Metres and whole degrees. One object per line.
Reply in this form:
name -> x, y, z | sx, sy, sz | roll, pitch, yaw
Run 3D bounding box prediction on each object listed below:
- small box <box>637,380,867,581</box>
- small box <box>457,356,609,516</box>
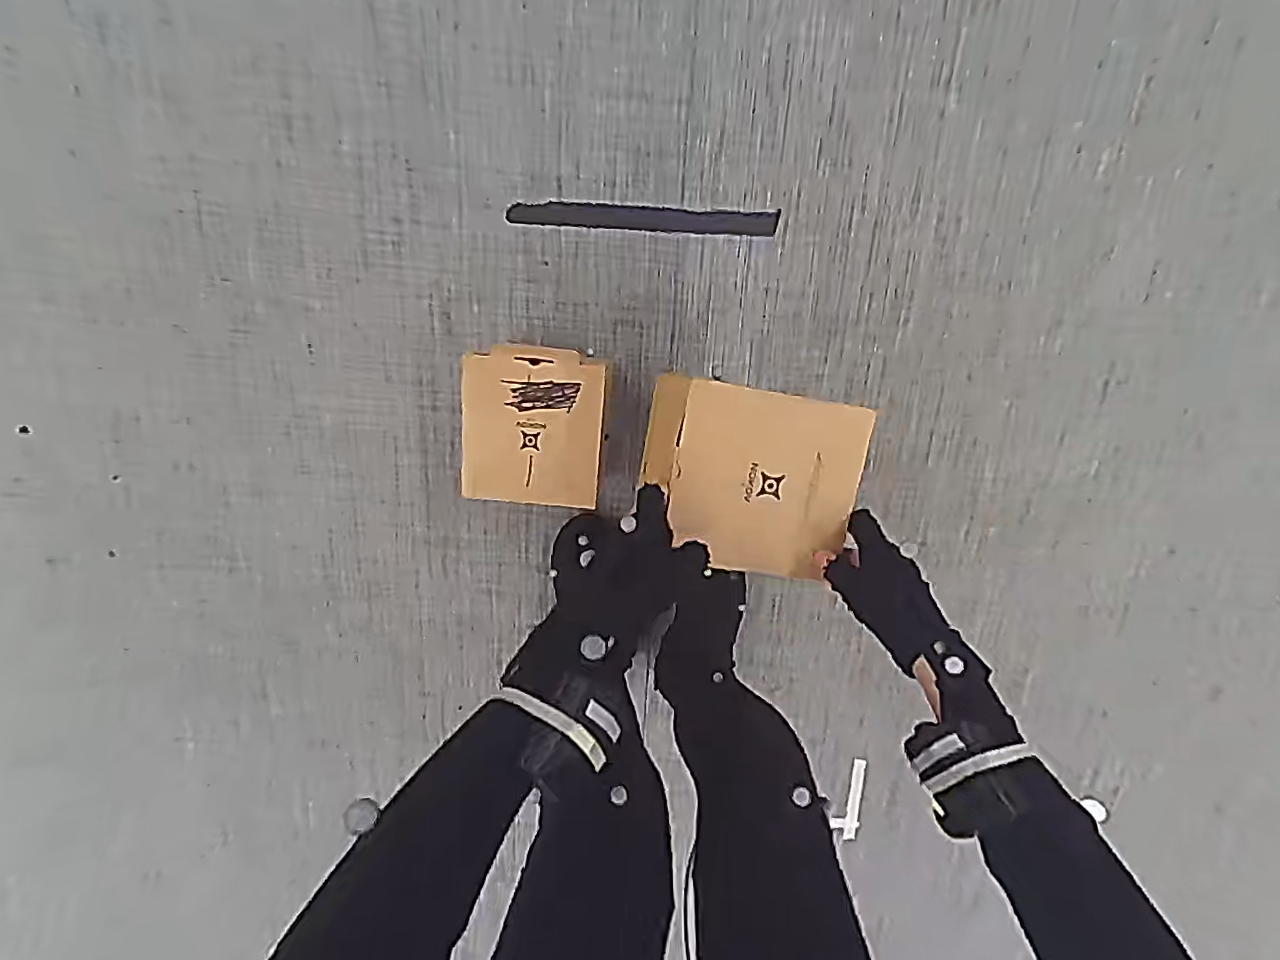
small box -> 0.098, -0.010, 0.566 | 0.179, 0.176, 0.168 | 7, 102, -9
small box -> -0.131, -0.067, 0.711 | 0.168, 0.176, 0.179 | 5, 105, -1
